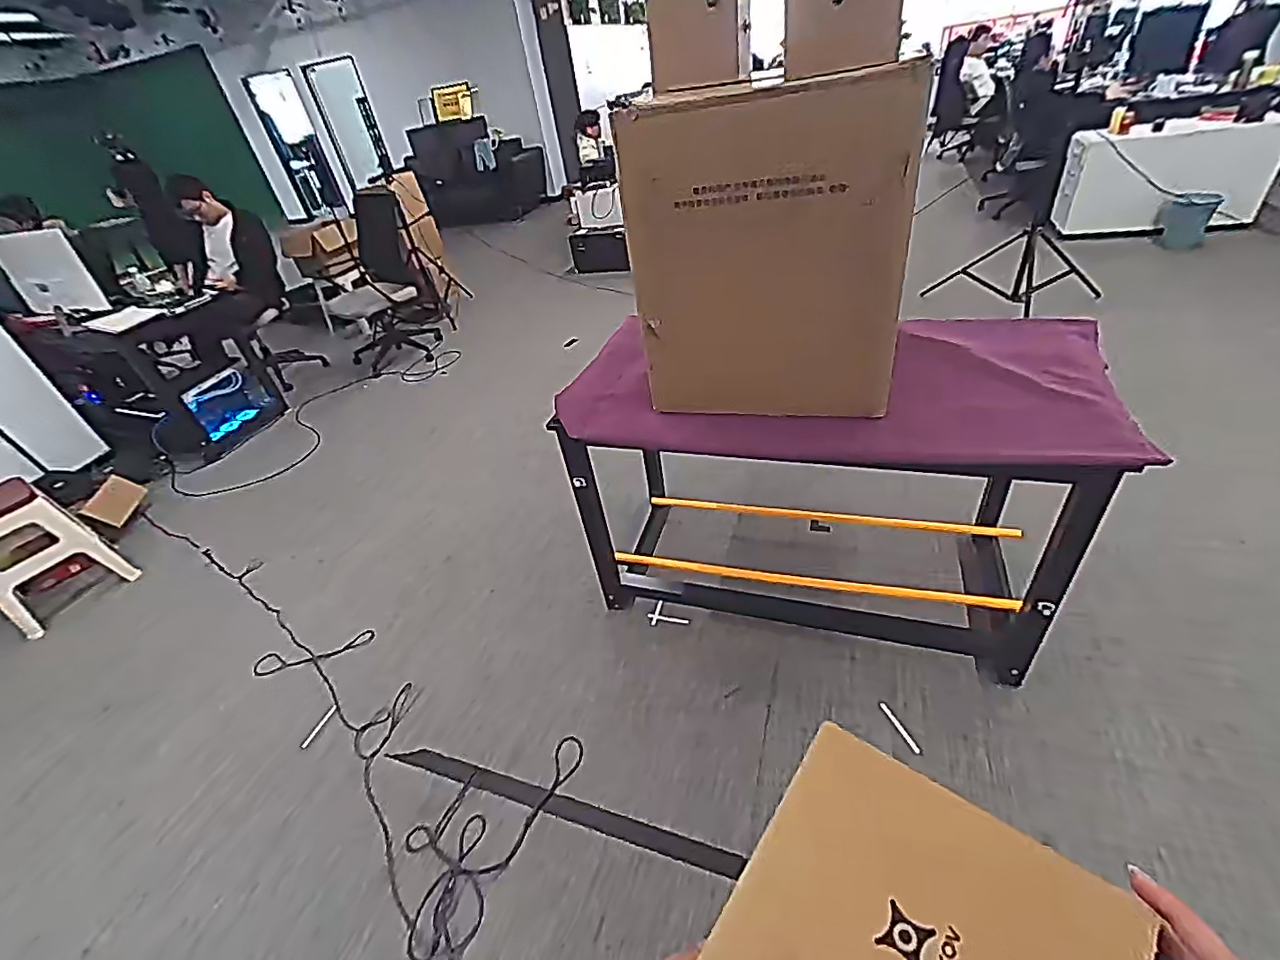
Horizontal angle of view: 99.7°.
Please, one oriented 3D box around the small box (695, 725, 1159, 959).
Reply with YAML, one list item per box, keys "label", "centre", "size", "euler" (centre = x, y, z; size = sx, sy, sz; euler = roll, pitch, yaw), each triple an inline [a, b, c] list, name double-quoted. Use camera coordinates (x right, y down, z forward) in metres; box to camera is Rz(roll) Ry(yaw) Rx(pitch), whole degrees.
- label: "small box"
  centre: [0.159, 0.298, 0.331]
  size: [0.179, 0.176, 0.168]
  euler: [22, 54, 35]
